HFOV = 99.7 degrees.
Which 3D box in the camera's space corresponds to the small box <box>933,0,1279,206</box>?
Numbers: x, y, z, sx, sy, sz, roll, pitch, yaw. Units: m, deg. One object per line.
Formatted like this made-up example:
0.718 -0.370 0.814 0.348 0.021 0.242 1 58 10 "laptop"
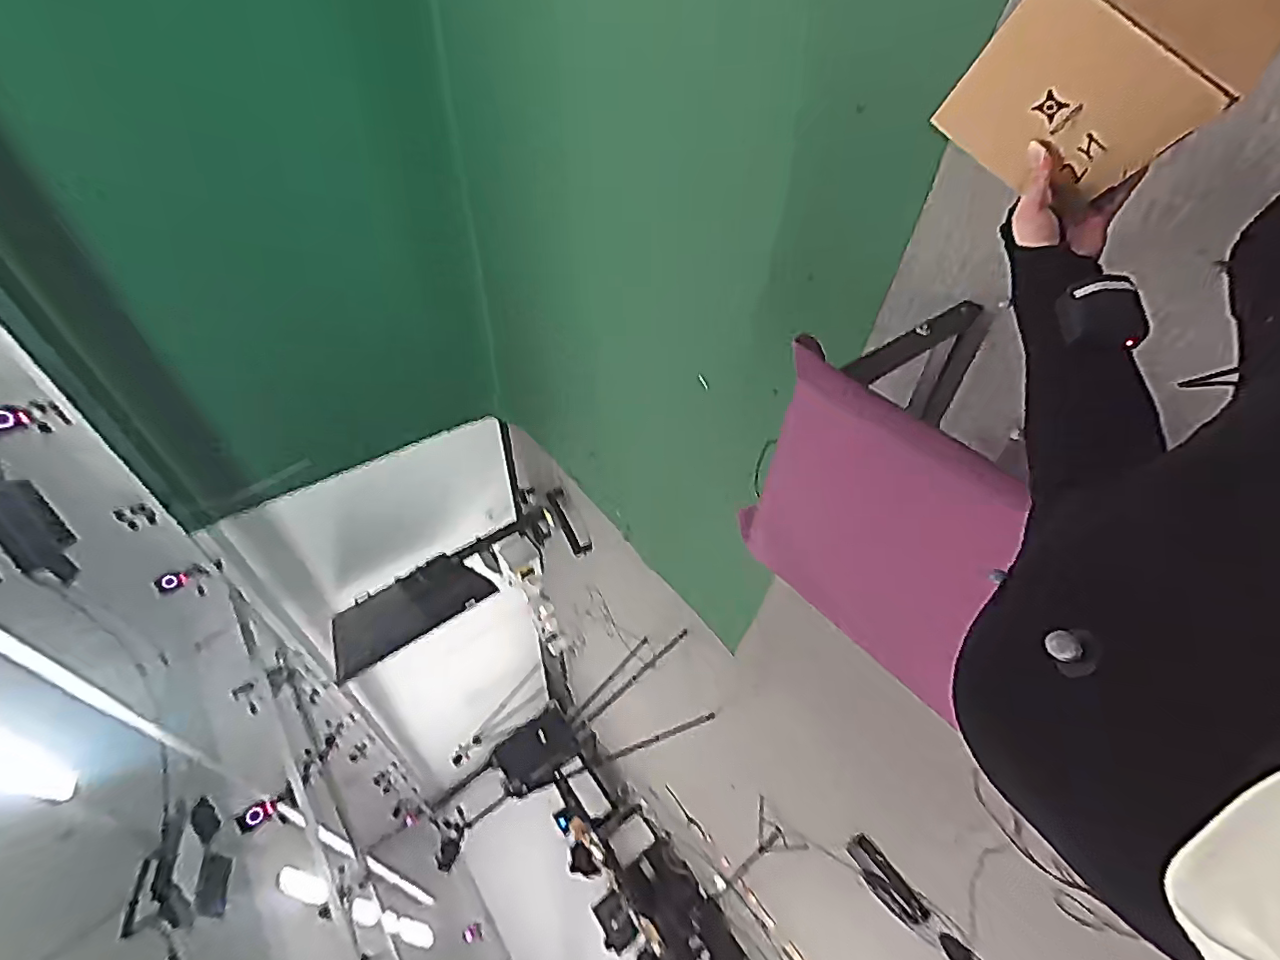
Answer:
0.422 -0.403 0.485 0.179 0.176 0.168 40 176 1 "small box"
